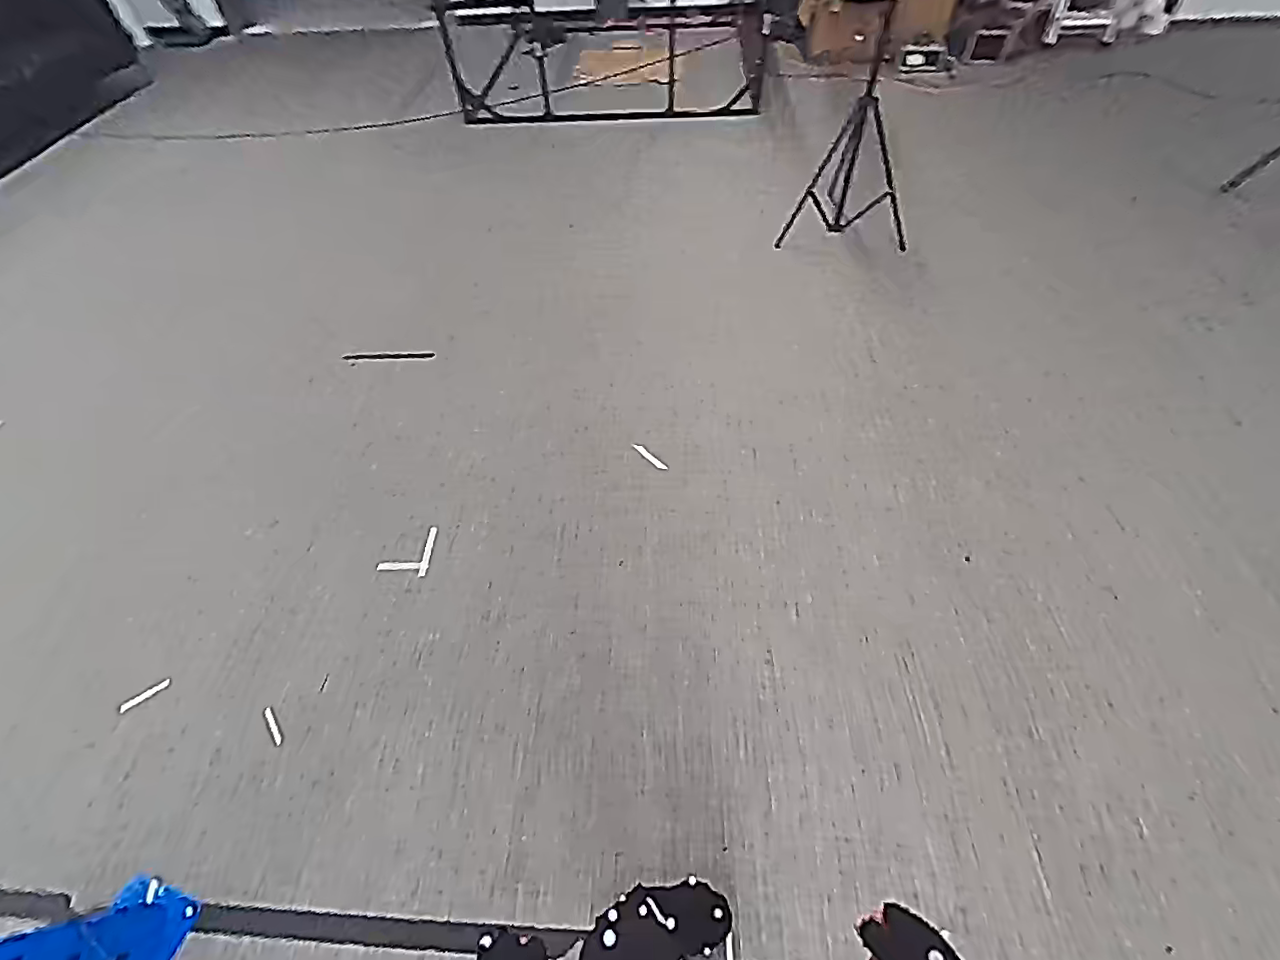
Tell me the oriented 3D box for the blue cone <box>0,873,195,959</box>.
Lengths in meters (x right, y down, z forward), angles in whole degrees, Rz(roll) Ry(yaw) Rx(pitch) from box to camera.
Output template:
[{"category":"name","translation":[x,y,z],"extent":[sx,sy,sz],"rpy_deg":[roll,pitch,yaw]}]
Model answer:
[{"category":"blue cone","translation":[-1.083,0.866,1.014],"extent":[0.193,0.380,0.192],"rpy_deg":[14,54,13]}]
